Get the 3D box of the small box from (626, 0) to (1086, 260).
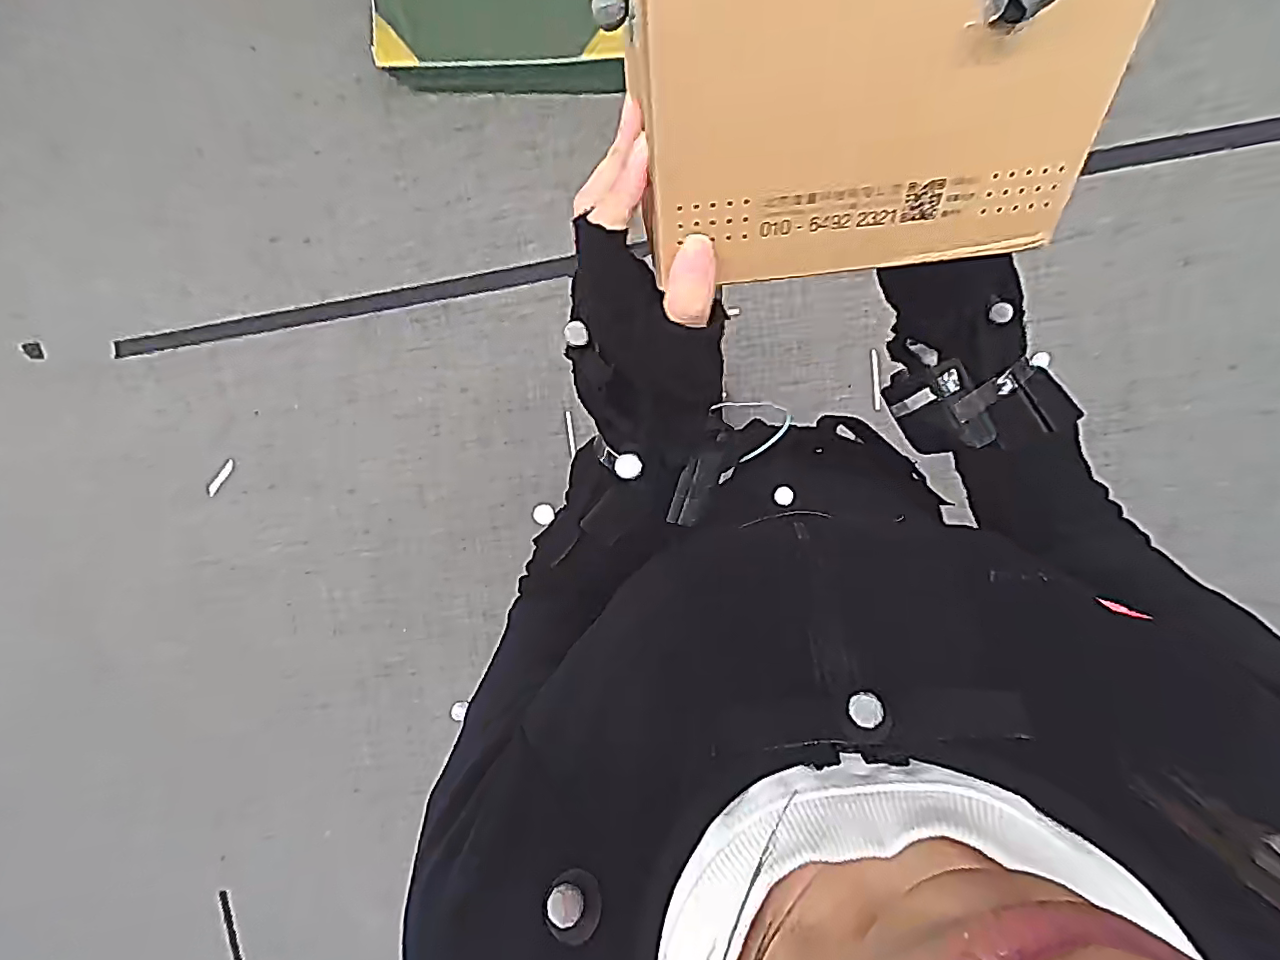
[{"bbox_3d":[0.077,-0.214,0.250,0.168,0.179,0.176,-4,134,1],"label":"small box"}]
